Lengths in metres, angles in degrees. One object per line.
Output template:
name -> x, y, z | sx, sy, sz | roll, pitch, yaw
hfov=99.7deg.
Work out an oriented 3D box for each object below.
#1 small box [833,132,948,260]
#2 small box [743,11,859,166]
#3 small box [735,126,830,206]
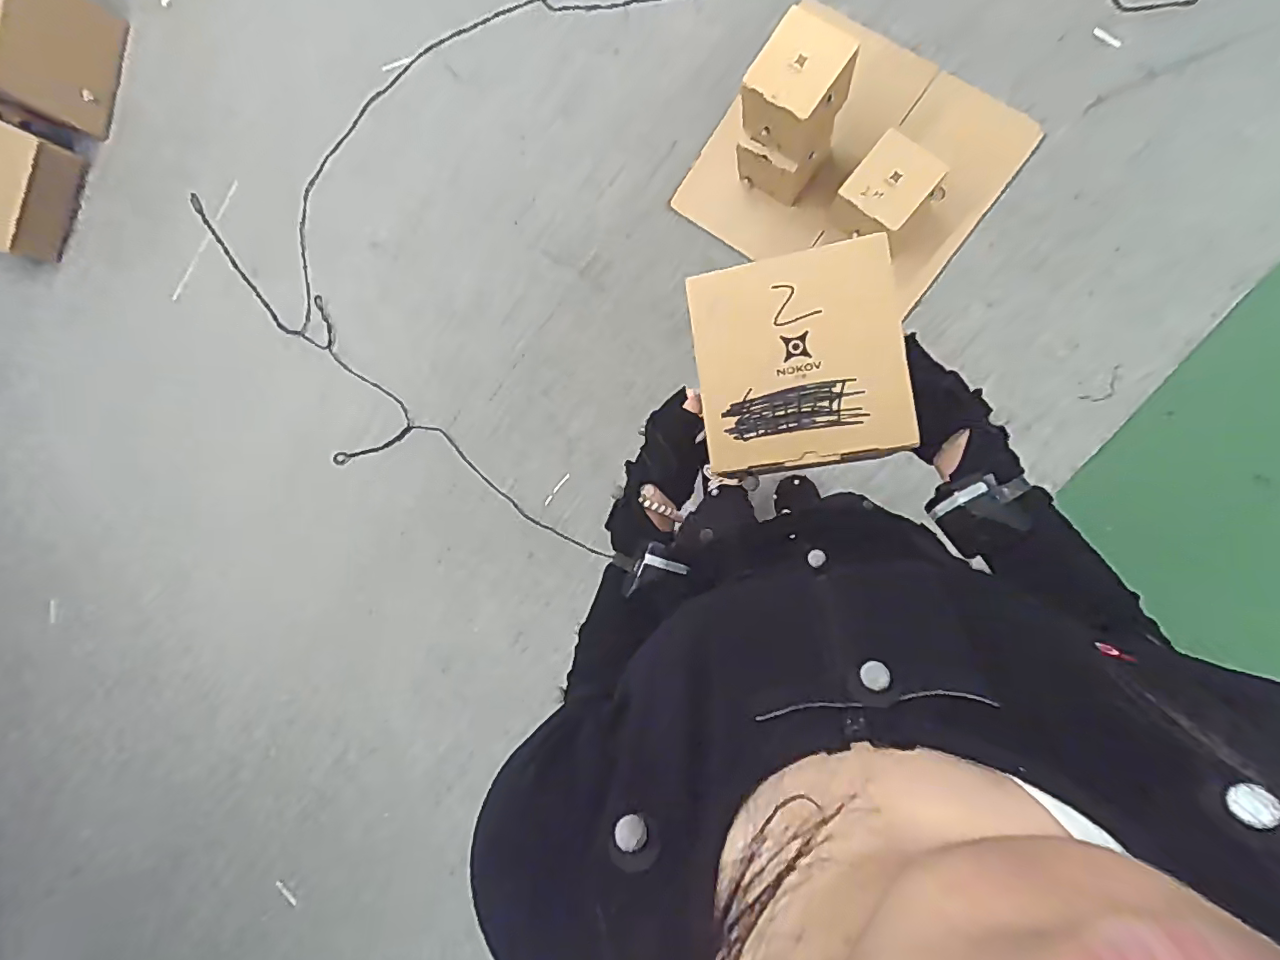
small box -> 0.584, -0.668, 1.292 | 0.168, 0.176, 0.179 | 42, 101, 10
small box -> 0.339, -0.837, 1.174 | 0.168, 0.176, 0.179 | 38, 99, 9
small box -> 0.355, -0.821, 1.337 | 0.168, 0.176, 0.179 | 35, 98, 10
